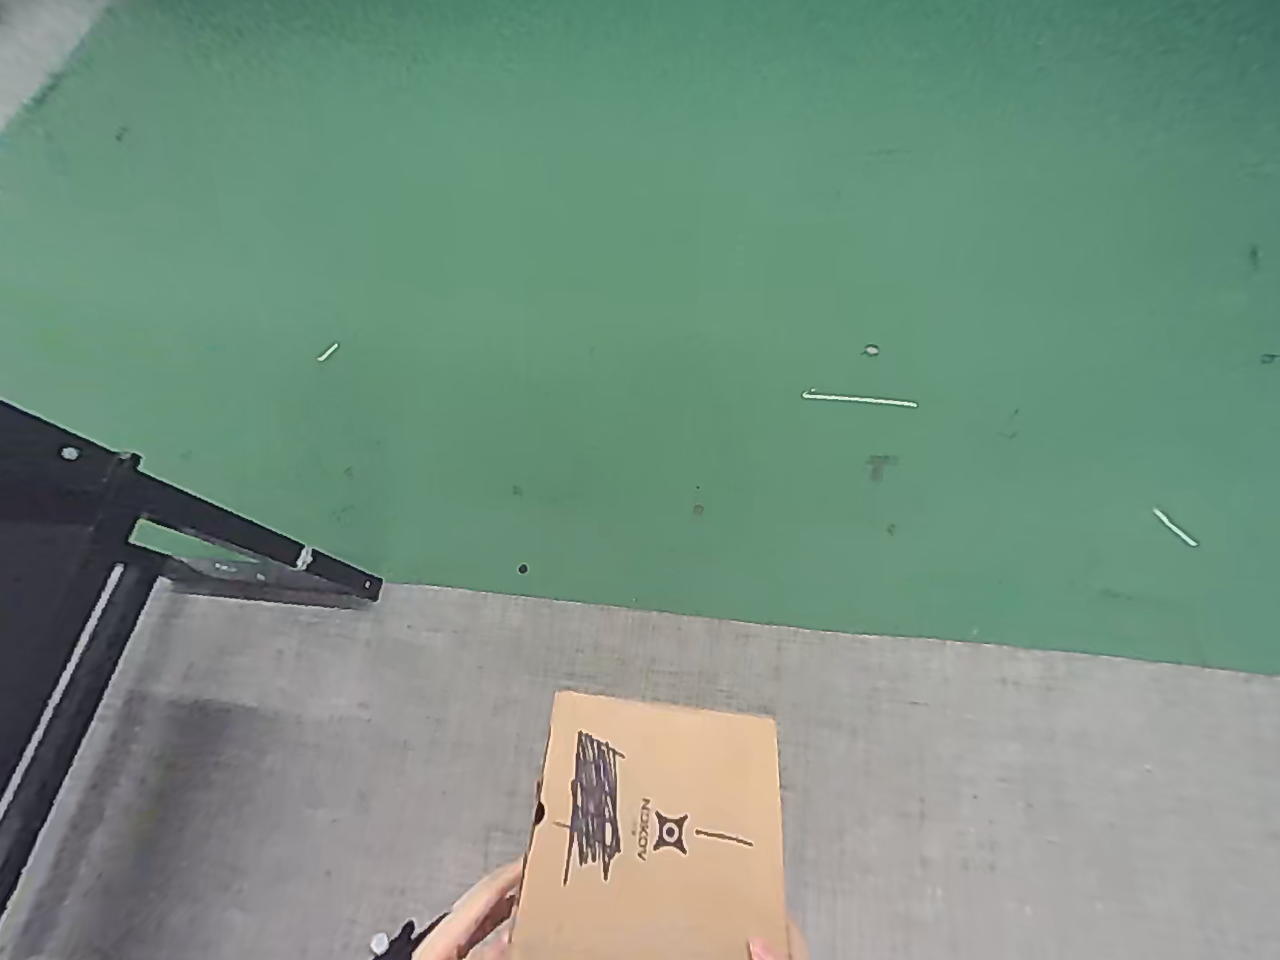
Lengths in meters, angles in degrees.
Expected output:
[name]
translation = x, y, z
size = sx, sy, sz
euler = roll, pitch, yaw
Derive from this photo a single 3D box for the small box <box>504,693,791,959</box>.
[small box]
translation = 0.006, 0.285, 0.428
size = 0.179, 0.176, 0.168
euler = 8, 53, -1
